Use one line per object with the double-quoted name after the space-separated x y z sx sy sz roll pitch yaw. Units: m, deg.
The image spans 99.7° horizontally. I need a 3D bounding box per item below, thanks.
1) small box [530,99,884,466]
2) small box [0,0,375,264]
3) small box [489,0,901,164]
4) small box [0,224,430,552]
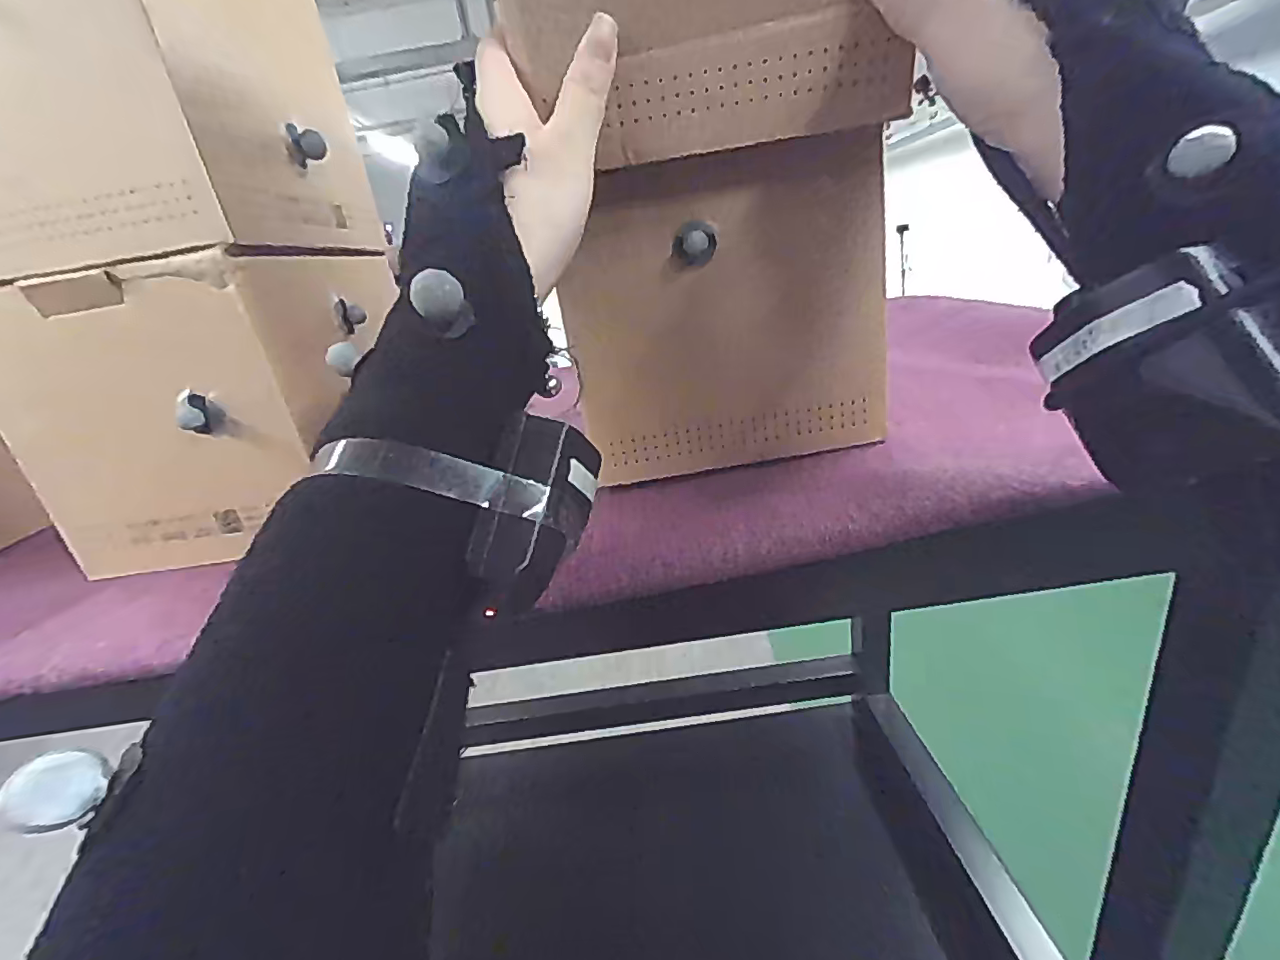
0.043 -0.116 0.359 0.179 0.176 0.168 -9 19 2 "small box"
-0.290 -0.213 0.304 0.179 0.176 0.168 -7 22 4 "small box"
0.018 -0.262 0.266 0.179 0.176 0.168 -8 31 3 "small box"
-0.265 -0.061 0.363 0.168 0.176 0.179 -7 21 3 "small box"
